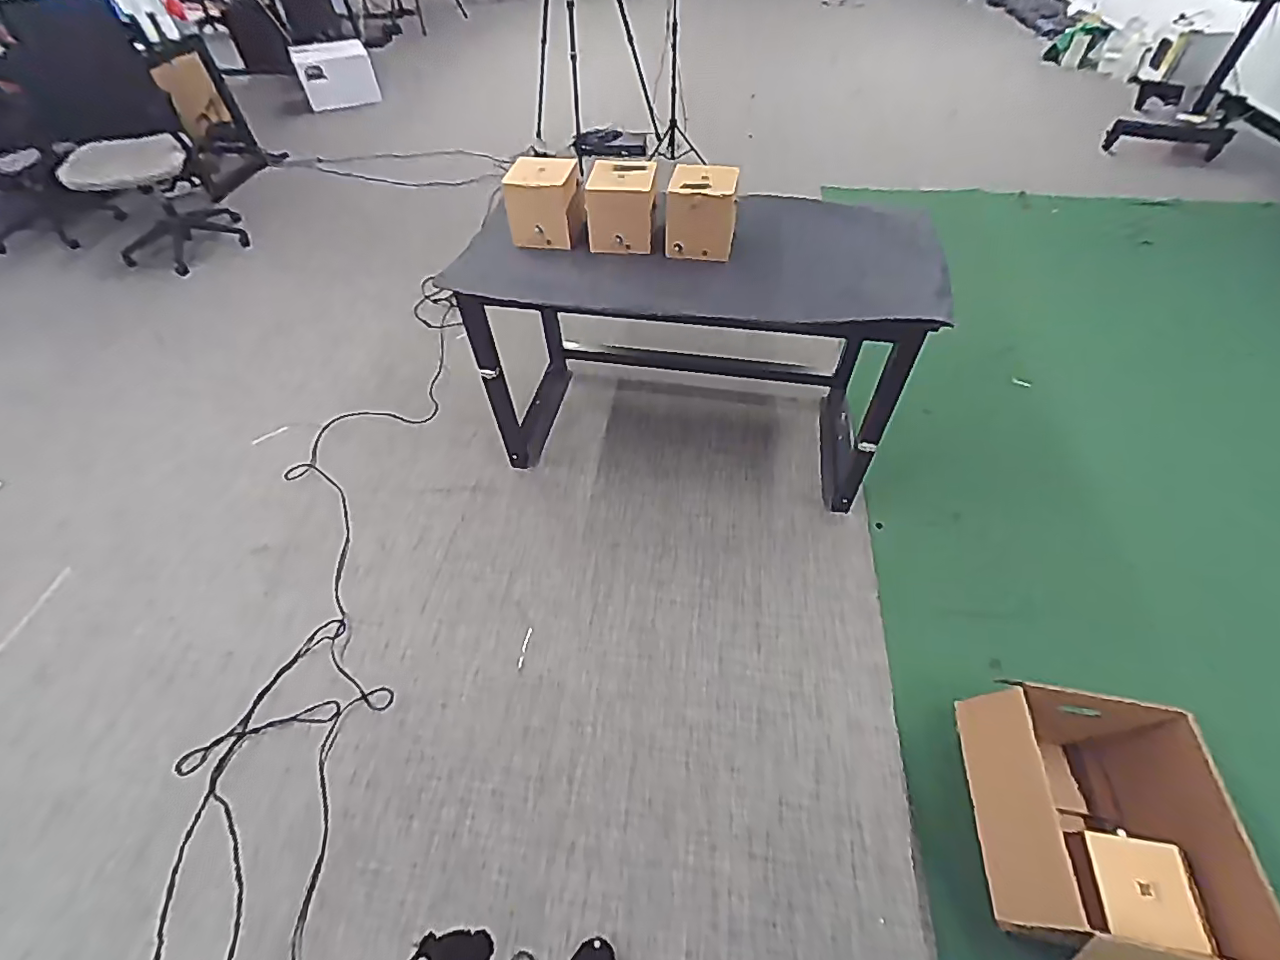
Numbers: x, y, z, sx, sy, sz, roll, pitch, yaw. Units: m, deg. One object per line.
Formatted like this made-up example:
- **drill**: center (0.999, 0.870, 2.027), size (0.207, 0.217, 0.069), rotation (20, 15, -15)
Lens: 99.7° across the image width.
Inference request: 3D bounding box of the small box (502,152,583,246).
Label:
- **small box**: center (-0.253, -0.759, 1.461), size (0.168, 0.176, 0.179), rotation (6, 52, 7)
